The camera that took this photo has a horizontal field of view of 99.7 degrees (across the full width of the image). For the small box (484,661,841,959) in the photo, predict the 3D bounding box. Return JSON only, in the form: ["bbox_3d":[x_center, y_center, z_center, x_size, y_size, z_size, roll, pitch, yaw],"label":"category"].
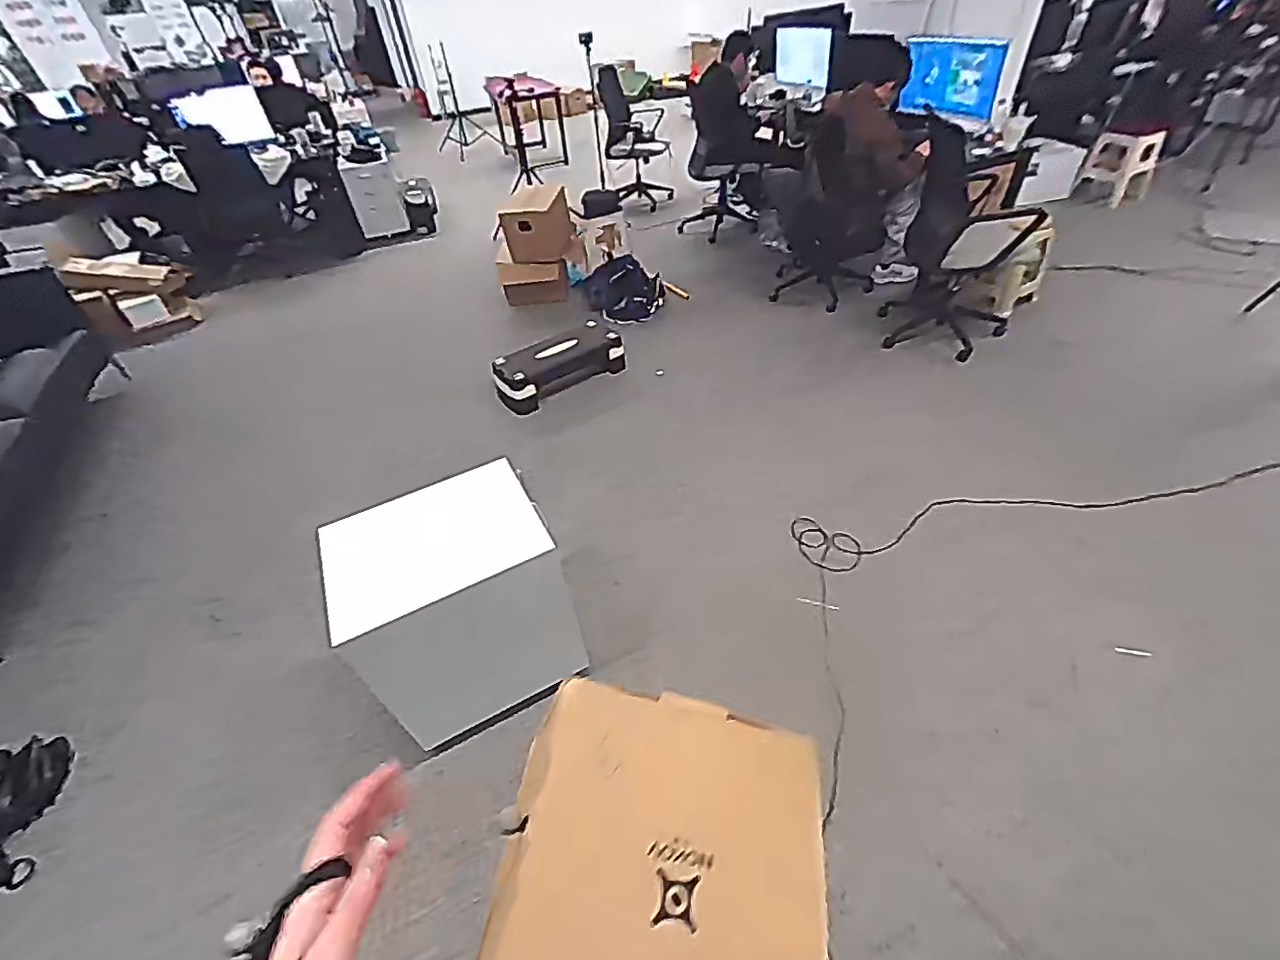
[{"bbox_3d":[0.005,0.245,0.341,0.168,0.176,0.179,16,48,-7],"label":"small box"}]
